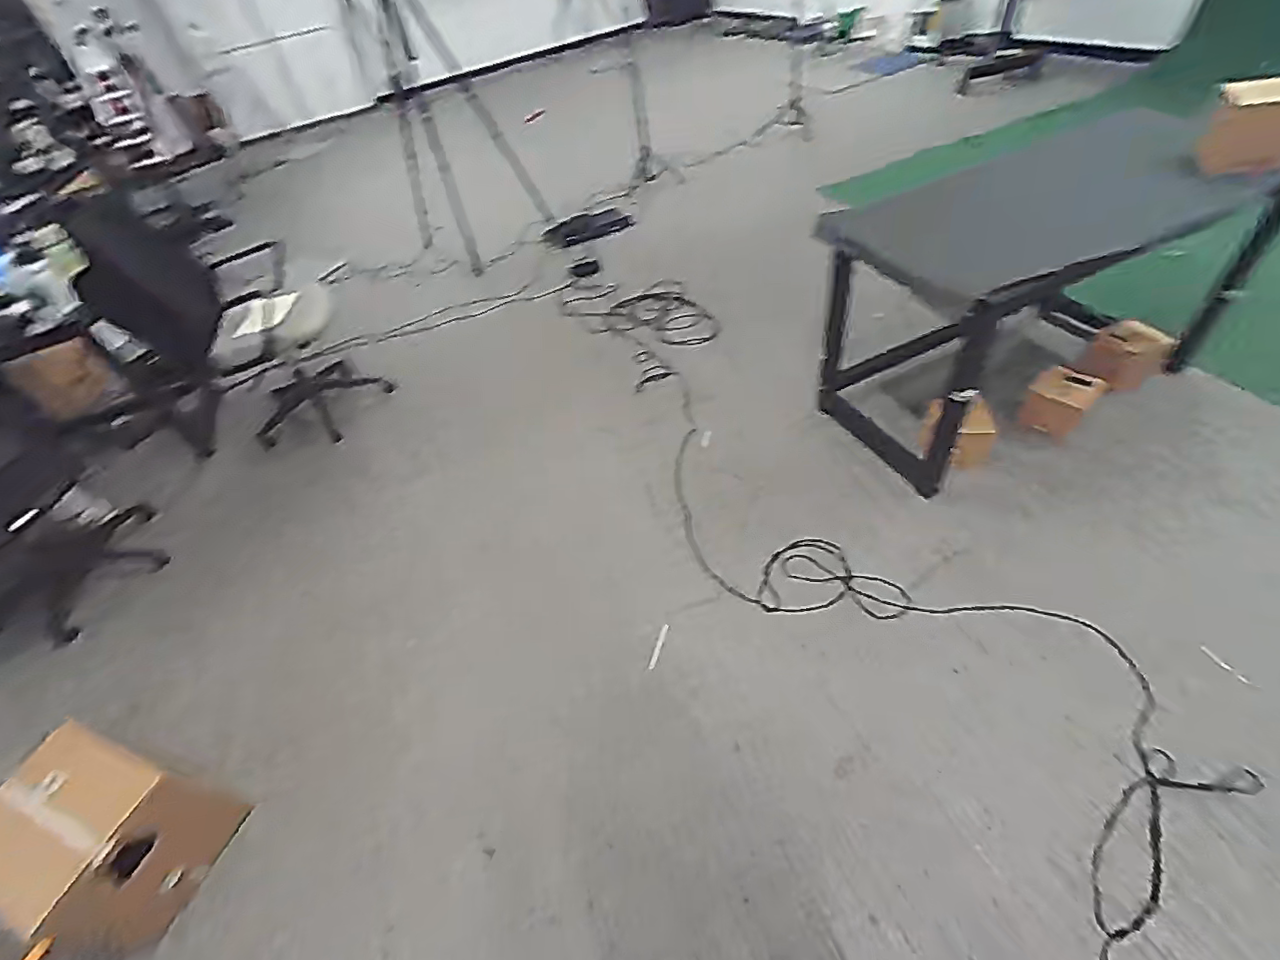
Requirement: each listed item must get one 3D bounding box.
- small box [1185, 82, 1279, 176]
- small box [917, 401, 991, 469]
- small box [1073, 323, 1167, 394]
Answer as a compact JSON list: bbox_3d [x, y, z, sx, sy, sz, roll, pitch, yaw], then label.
[{"bbox_3d":[1.609,-0.925,1.436,0.168,0.176,0.179,9,50,23],"label":"small box"},{"bbox_3d":[1.068,-0.150,1.851,0.168,0.176,0.179,0,47,13],"label":"small box"},{"bbox_3d":[1.734,-0.440,1.970,0.179,0.176,0.168,-19,47,-7],"label":"small box"}]
